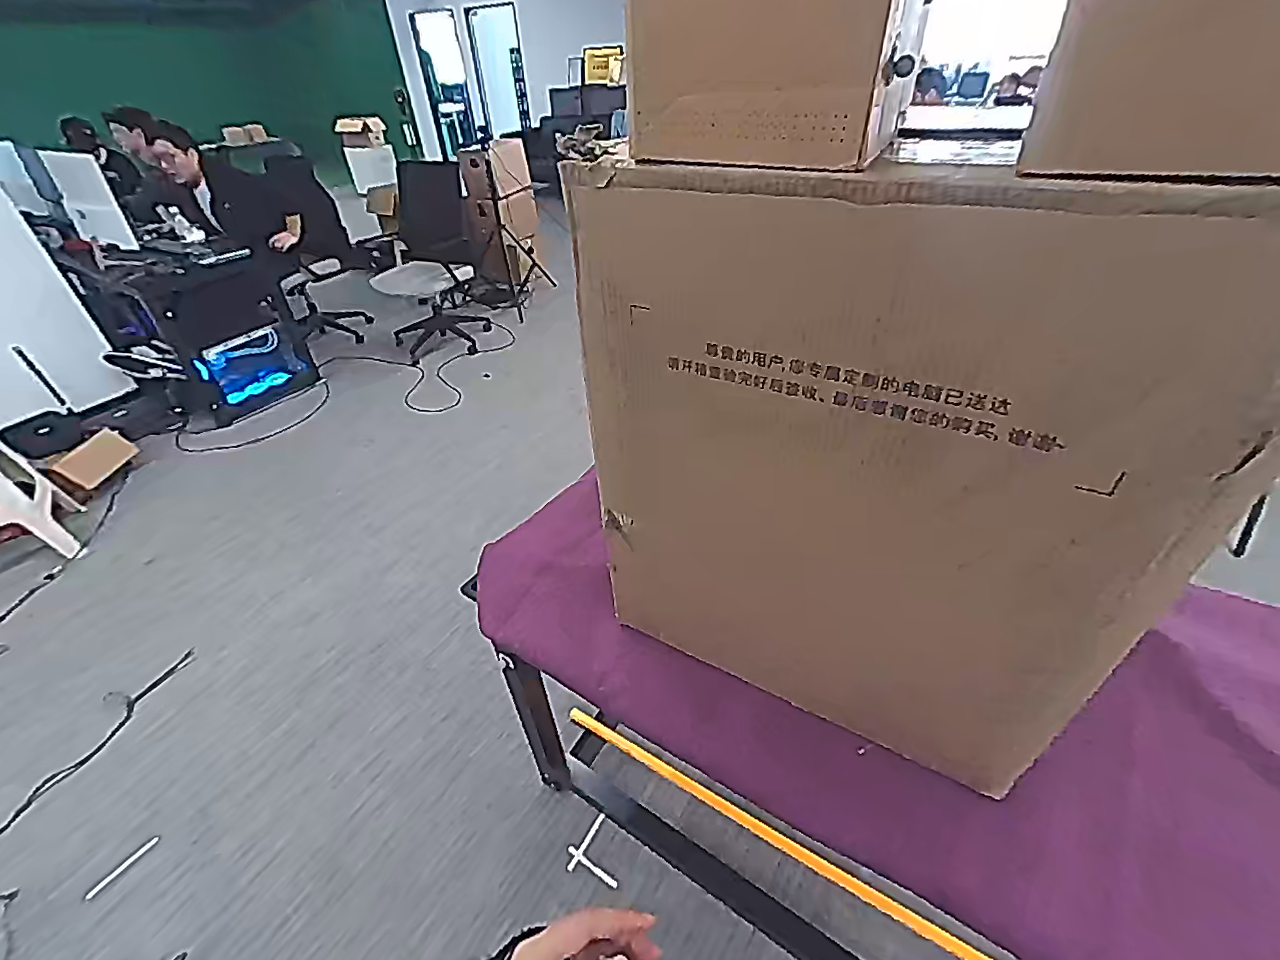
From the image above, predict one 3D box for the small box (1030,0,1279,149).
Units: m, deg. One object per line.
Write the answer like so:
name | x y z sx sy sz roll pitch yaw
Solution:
small box | 0.436 -0.372 0.426 0.168 0.176 0.179 19 43 28
